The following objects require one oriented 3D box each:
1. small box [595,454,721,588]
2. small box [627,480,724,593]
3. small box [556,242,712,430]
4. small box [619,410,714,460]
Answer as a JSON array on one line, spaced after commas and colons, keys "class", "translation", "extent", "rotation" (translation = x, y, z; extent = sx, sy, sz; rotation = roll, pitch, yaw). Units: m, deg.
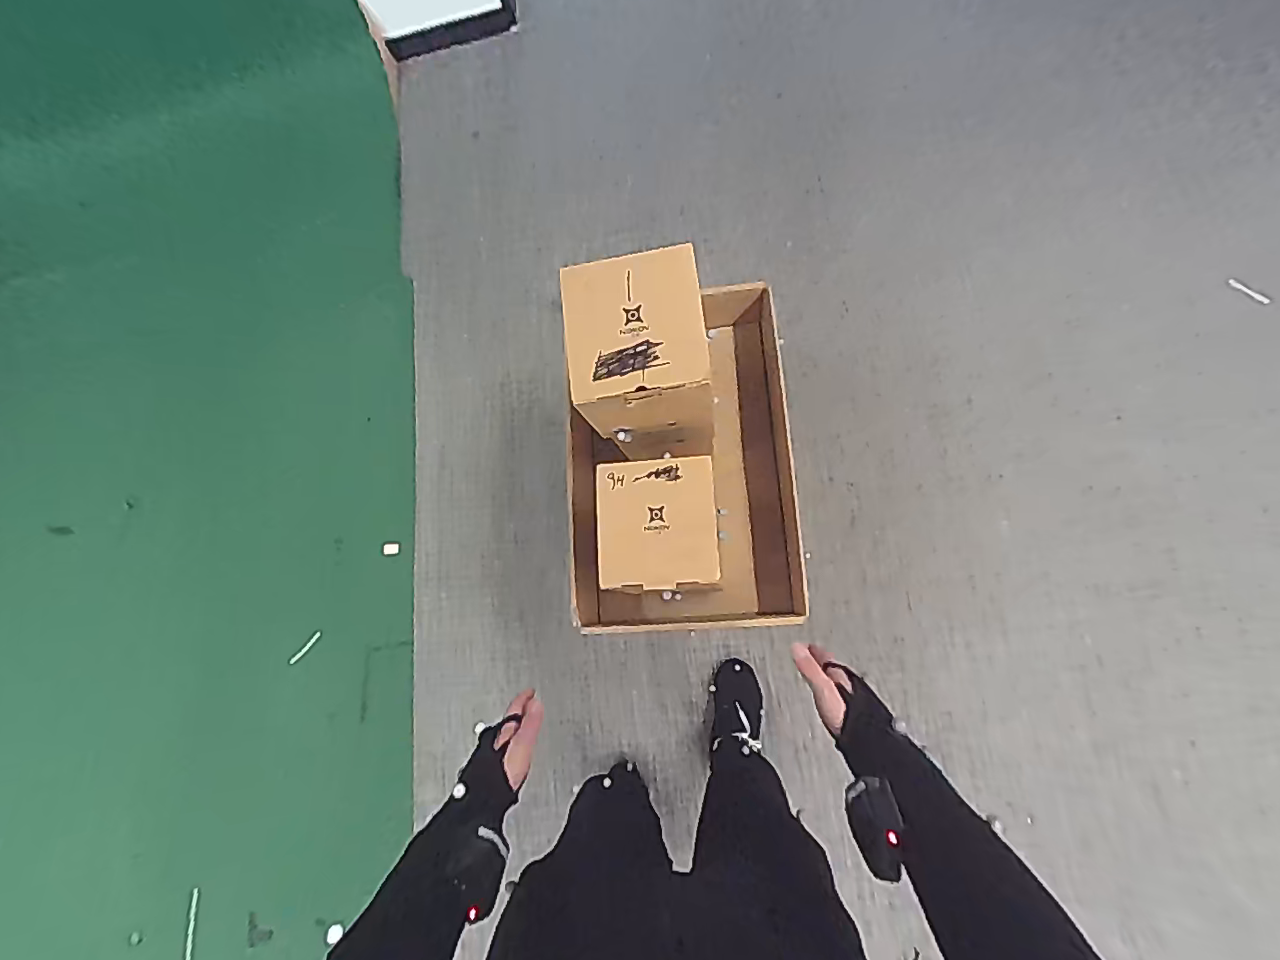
[{"class": "small box", "translation": [0.033, 0.071, 0.812], "extent": [0.168, 0.176, 0.179], "rotation": [-5, 77, 9]}, {"class": "small box", "translation": [0.061, 0.107, 0.968], "extent": [0.168, 0.176, 0.179], "rotation": [-5, 76, 9]}, {"class": "small box", "translation": [0.000, -0.172, 0.707], "extent": [0.168, 0.176, 0.179], "rotation": [-9, 79, 8]}, {"class": "small box", "translation": [0.050, -0.138, 1.031], "extent": [0.168, 0.176, 0.179], "rotation": [-7, 80, 8]}]
